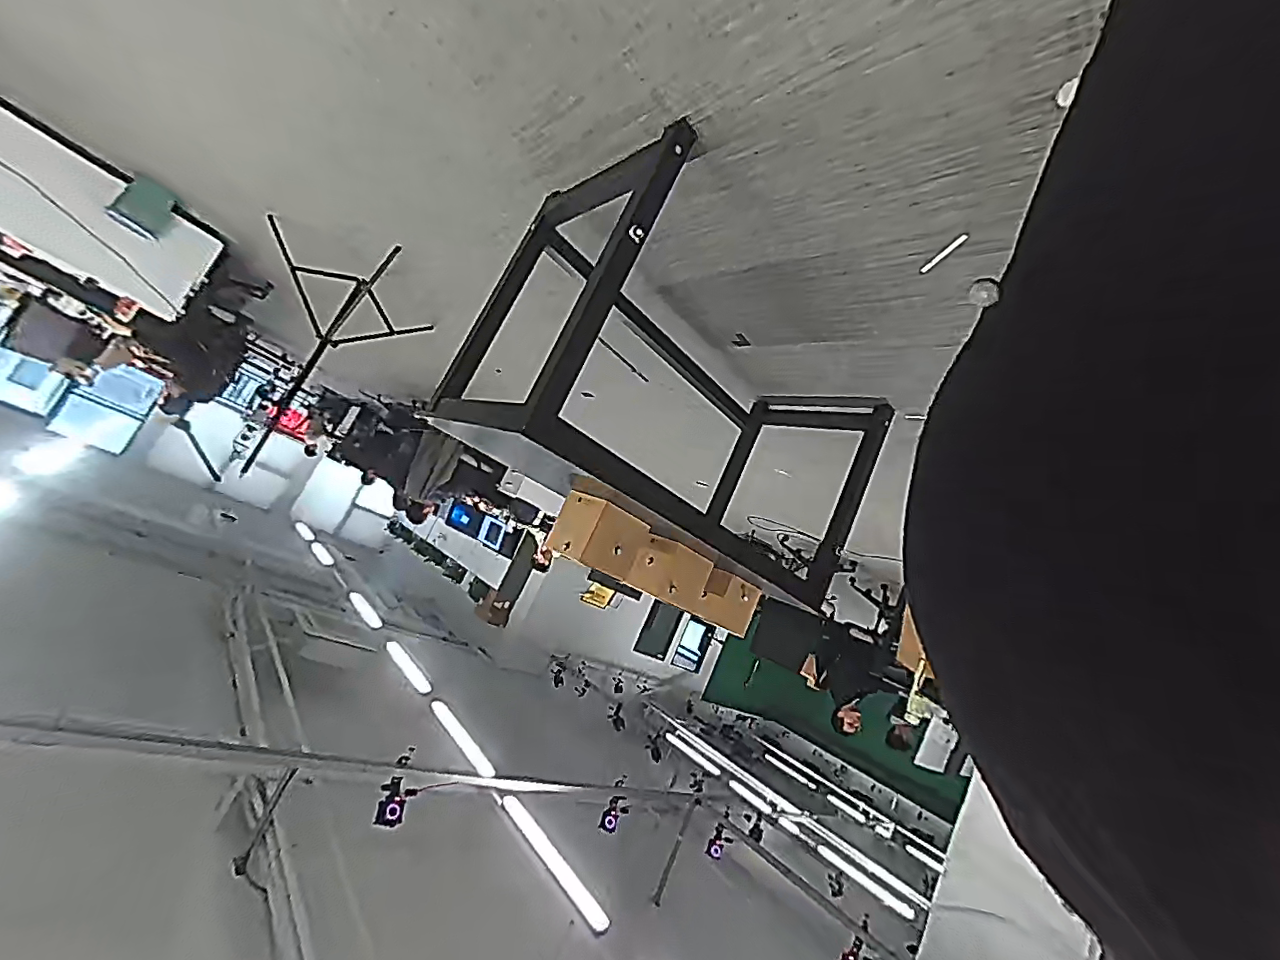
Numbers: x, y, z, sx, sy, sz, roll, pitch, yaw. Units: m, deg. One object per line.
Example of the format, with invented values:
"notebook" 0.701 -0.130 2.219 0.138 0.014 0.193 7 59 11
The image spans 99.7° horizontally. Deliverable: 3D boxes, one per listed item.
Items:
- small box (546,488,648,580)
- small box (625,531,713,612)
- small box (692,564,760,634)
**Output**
"small box" -0.109 0.140 1.428 0.179 0.176 0.168 32 168 -40
"small box" 0.084 0.266 1.609 0.179 0.176 0.168 33 168 -38
"small box" 0.261 0.379 1.773 0.168 0.176 0.179 32 167 -37
